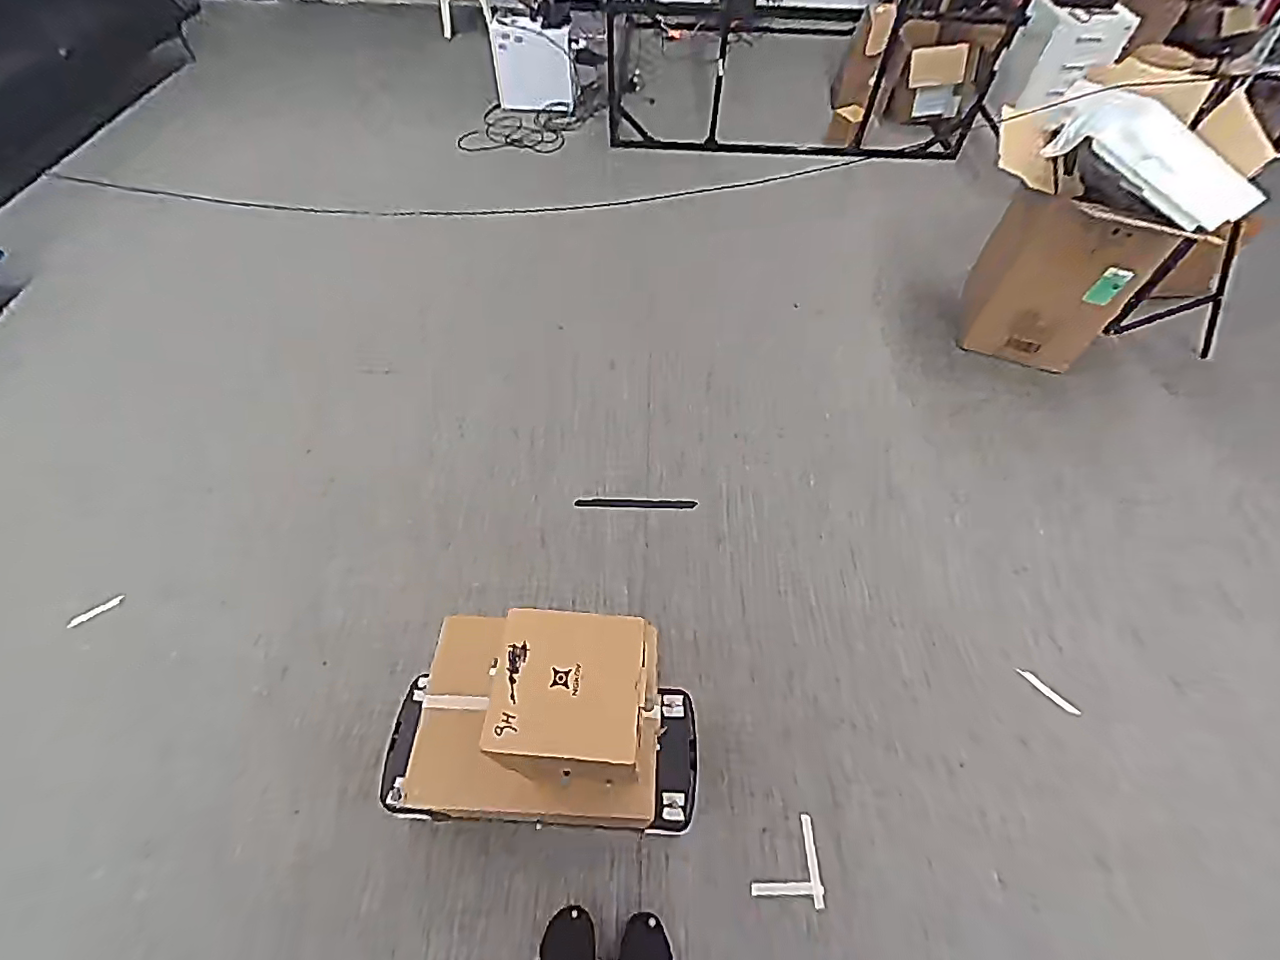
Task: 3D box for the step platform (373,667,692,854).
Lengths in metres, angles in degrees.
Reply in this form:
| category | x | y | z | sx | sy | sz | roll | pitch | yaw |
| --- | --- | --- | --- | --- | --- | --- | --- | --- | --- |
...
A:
| category | x | y | z | sx | sy | sz | roll | pitch | yaw |
| --- | --- | --- | --- | --- | --- | --- | --- | --- | --- |
| step platform | -0.224 | 0.627 | 1.228 | 0.684 | 0.204 | 0.286 | 7 | 55 | 4 |

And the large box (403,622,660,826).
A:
| category | x | y | z | sx | sy | sz | roll | pitch | yaw |
| --- | --- | --- | --- | --- | --- | --- | --- | --- | --- |
| large box | -0.166 | 0.479 | 1.043 | 0.408 | 0.320 | 0.320 | 2 | 54 | 1 |

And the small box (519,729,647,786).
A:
| category | x | y | z | sx | sy | sz | roll | pitch | yaw |
| --- | --- | --- | --- | --- | --- | --- | --- | --- | --- |
| small box | -0.078 | 0.364 | 0.827 | 0.179 | 0.176 | 0.168 | 2 | 55 | 1 |

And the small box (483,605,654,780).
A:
| category | x | y | z | sx | sy | sz | roll | pitch | yaw |
| --- | --- | --- | --- | --- | --- | --- | --- | --- | --- |
| small box | -0.079 | 0.276 | 0.688 | 0.179 | 0.176 | 0.168 | 5 | 55 | 1 |
